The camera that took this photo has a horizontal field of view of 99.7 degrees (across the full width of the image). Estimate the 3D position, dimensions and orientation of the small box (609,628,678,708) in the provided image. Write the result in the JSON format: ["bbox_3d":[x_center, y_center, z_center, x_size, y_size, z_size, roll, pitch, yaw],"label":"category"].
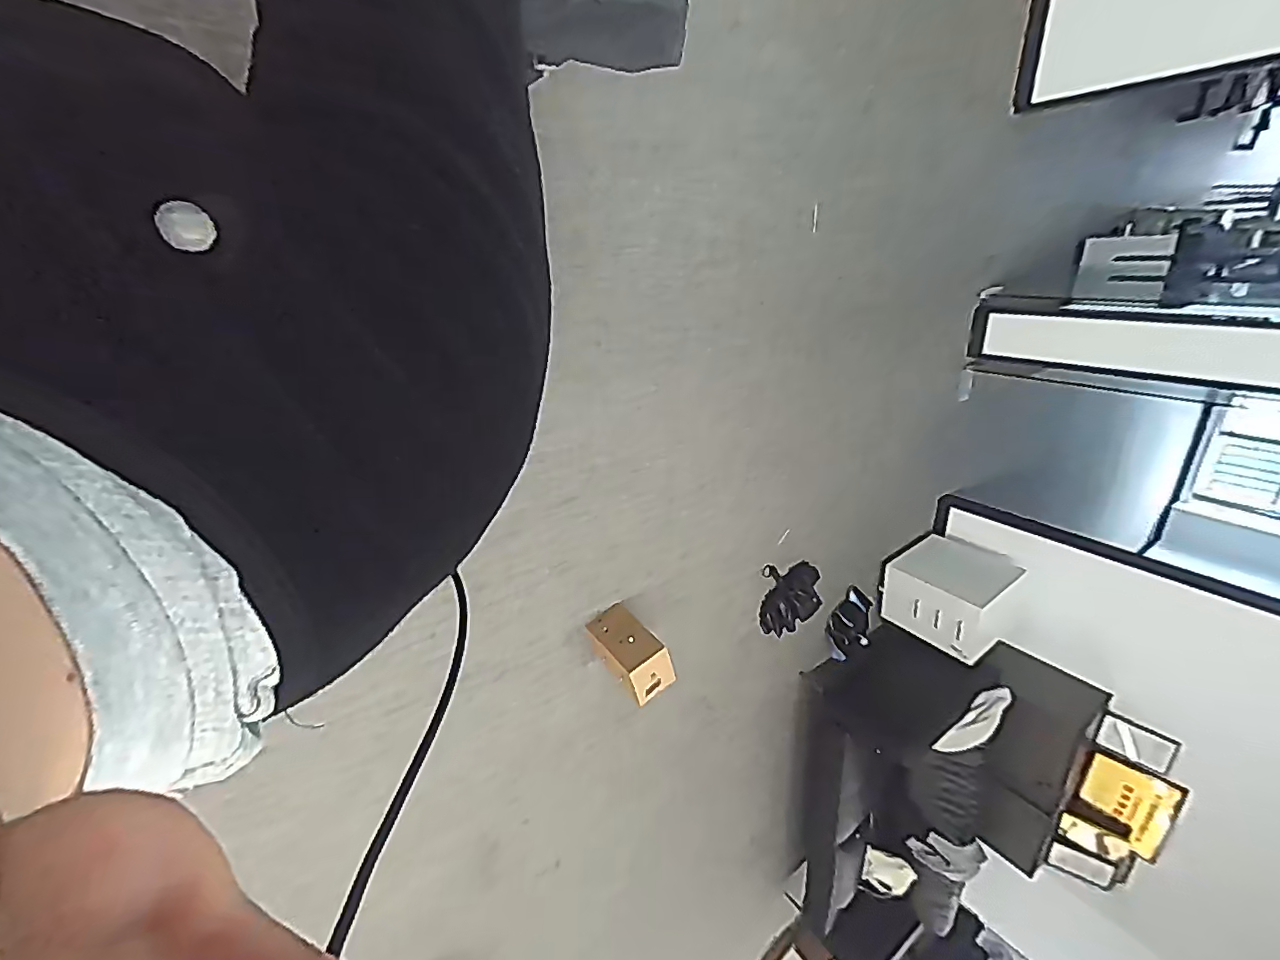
[{"bbox_3d":[0.012,0.677,1.966,0.168,0.176,0.179,-30,122,-24],"label":"small box"}]

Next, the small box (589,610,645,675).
[{"bbox_3d":[-0.075,0.629,2.097,0.168,0.176,0.179,-31,124,-23],"label":"small box"}]
